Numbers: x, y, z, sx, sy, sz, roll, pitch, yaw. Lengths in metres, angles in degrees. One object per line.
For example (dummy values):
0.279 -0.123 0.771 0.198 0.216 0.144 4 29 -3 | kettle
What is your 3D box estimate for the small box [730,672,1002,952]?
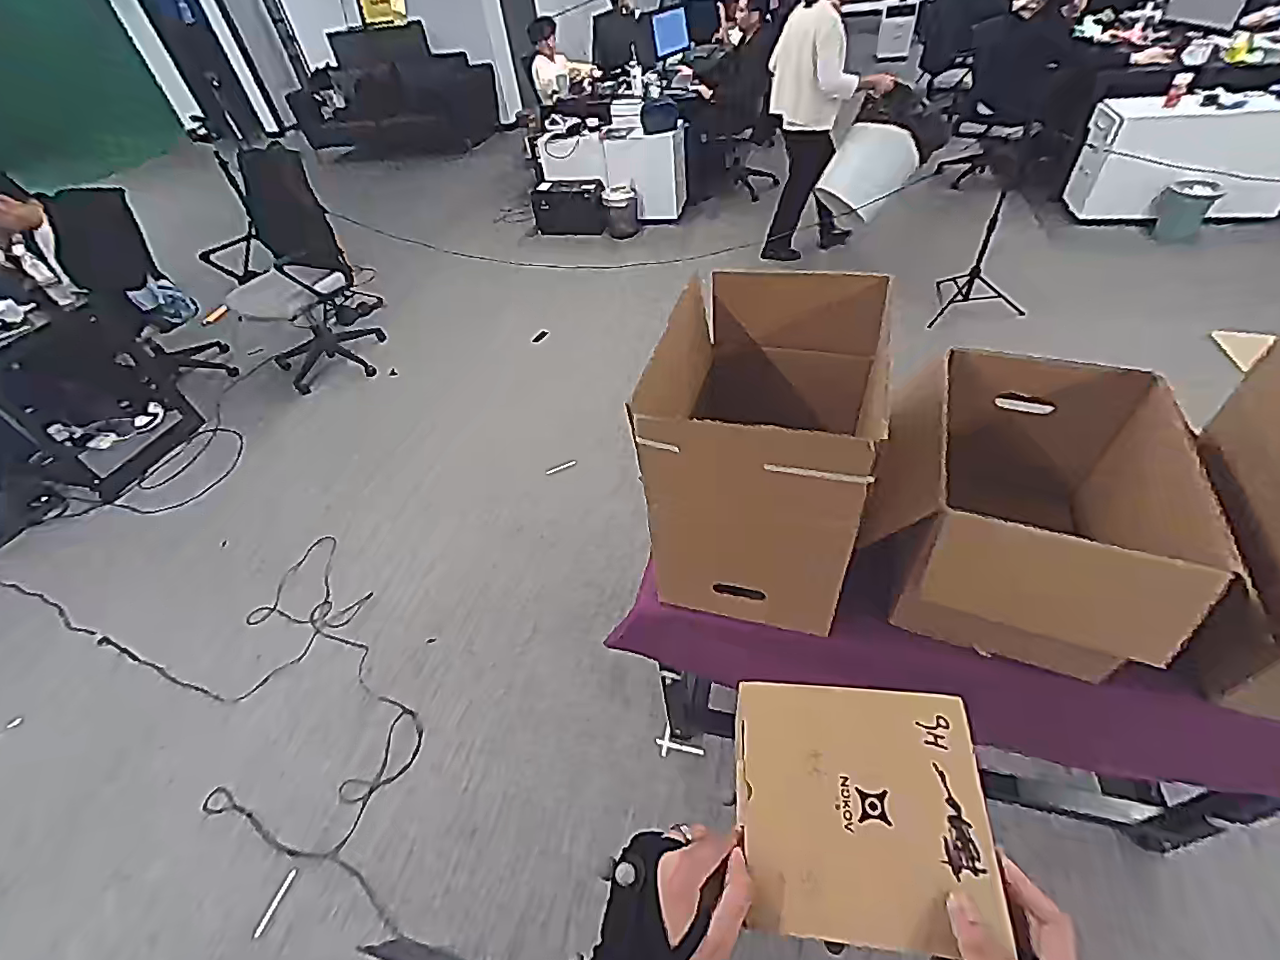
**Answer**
0.170 0.279 0.471 0.179 0.176 0.168 1 57 10 | small box
